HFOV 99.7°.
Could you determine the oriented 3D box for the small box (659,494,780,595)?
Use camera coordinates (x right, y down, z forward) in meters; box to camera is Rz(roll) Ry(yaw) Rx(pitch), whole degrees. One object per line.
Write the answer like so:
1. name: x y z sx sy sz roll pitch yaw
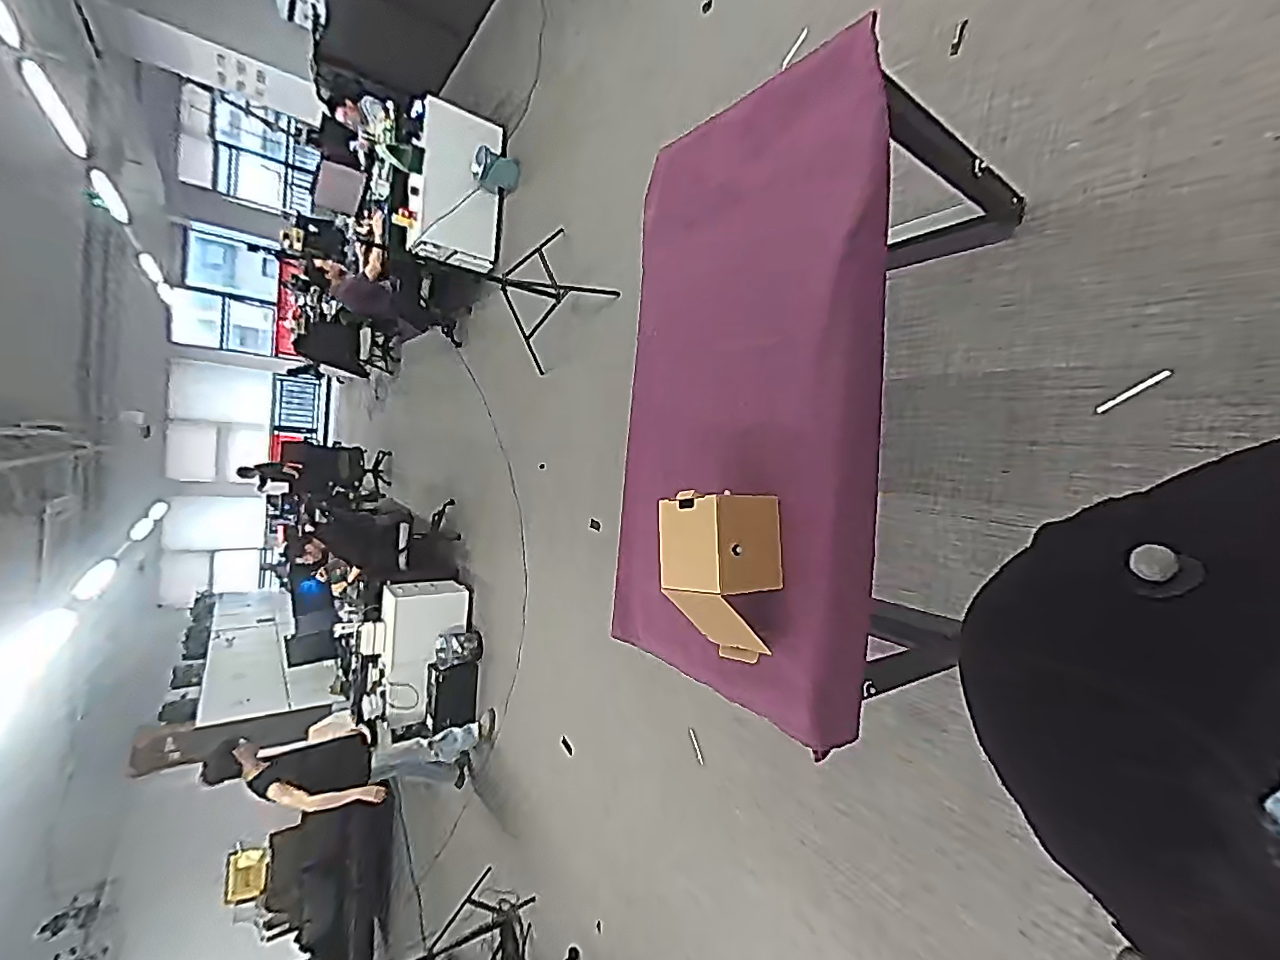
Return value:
1. small box: 0.153 0.119 1.036 0.168 0.176 0.179 -9 81 53
